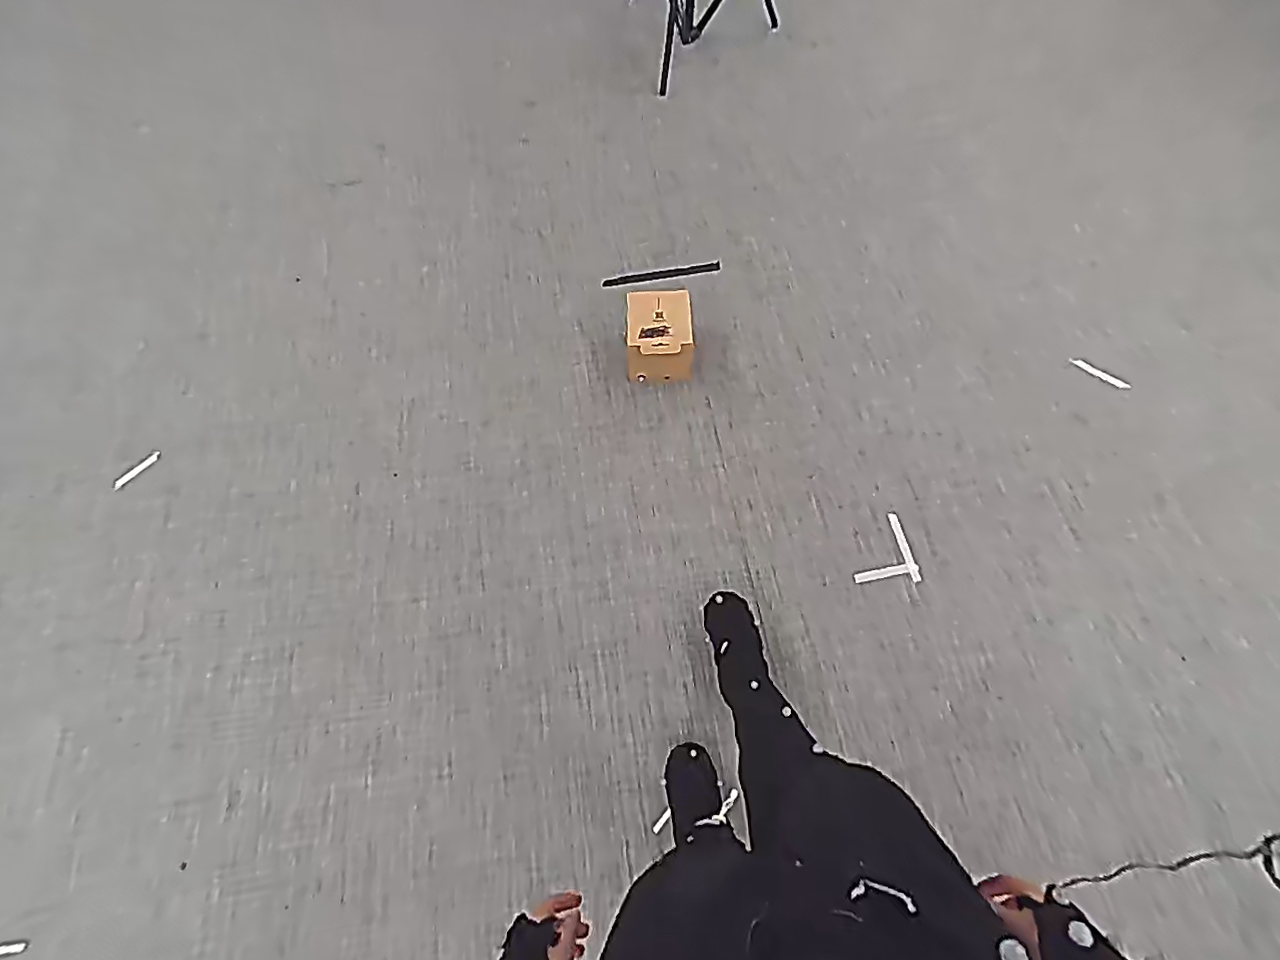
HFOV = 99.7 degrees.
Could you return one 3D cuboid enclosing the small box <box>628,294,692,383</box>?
[{"bbox_3d":[0.053,-0.374,1.460,0.168,0.176,0.179,-1,67,1],"label":"small box"}]
